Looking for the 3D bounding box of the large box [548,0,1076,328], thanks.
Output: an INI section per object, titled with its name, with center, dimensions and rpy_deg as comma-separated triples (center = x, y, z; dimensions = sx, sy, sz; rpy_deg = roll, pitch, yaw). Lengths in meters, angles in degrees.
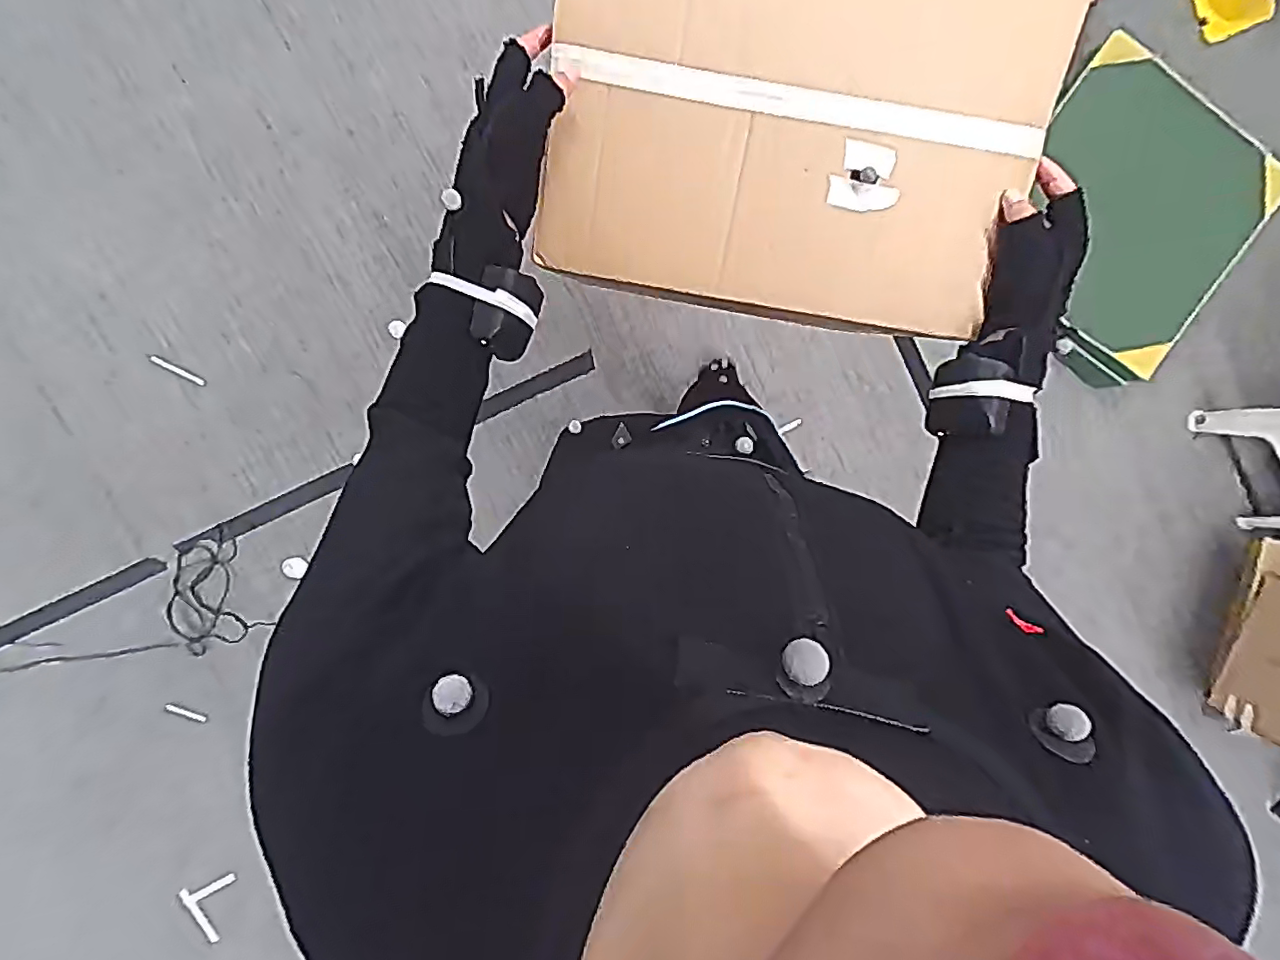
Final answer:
[large box]
center = 0.133, -0.359, 0.593
dimensions = 0.408, 0.320, 0.320
rpy_deg = 10, 108, -3
